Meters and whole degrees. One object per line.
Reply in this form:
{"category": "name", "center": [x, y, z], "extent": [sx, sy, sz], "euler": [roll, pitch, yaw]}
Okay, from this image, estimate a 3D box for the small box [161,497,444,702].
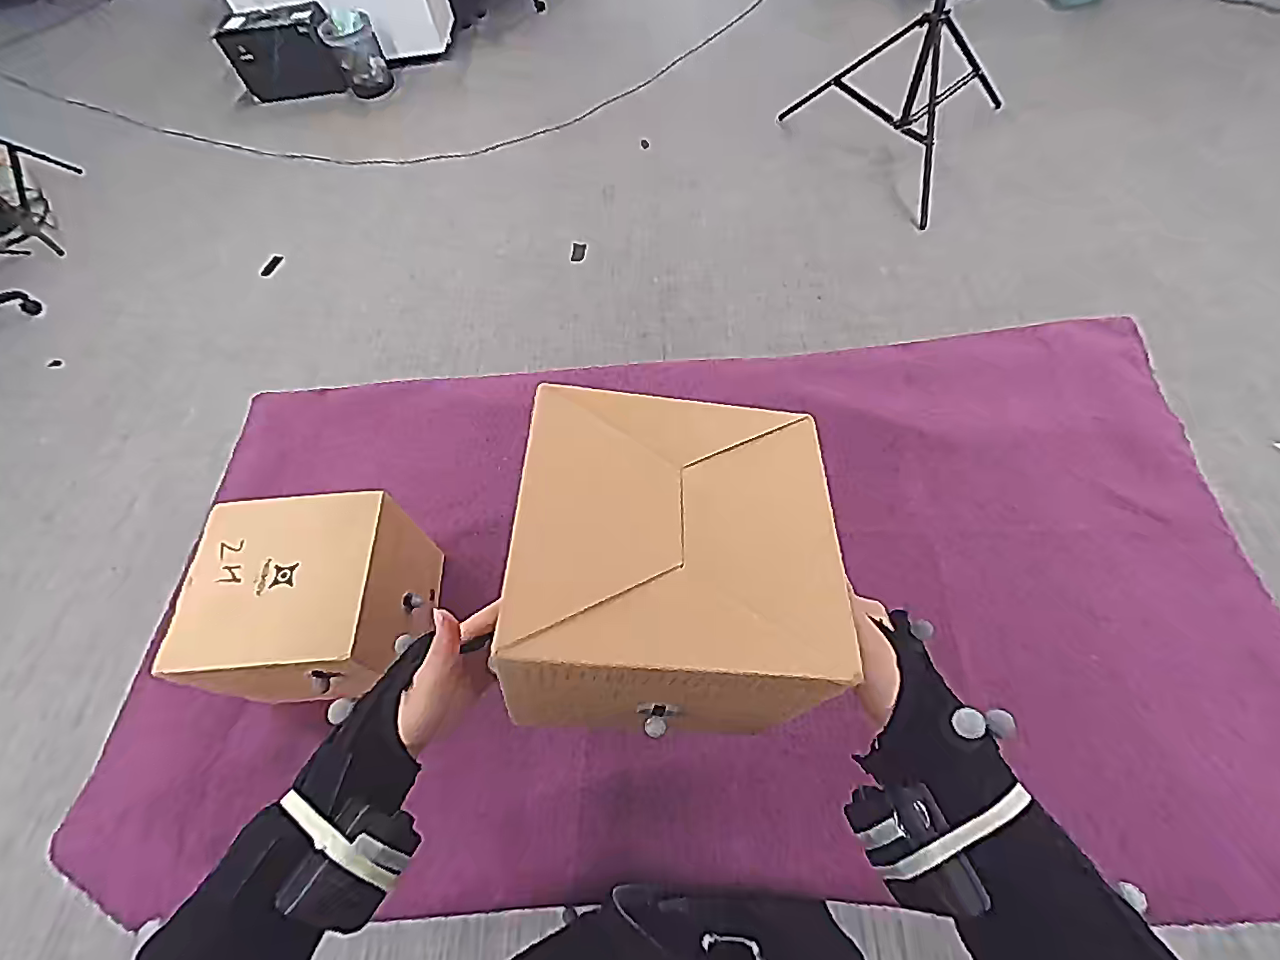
{"category": "small box", "center": [-0.325, 0.132, 0.571], "extent": [0.179, 0.176, 0.168], "euler": [-4, 59, 1]}
